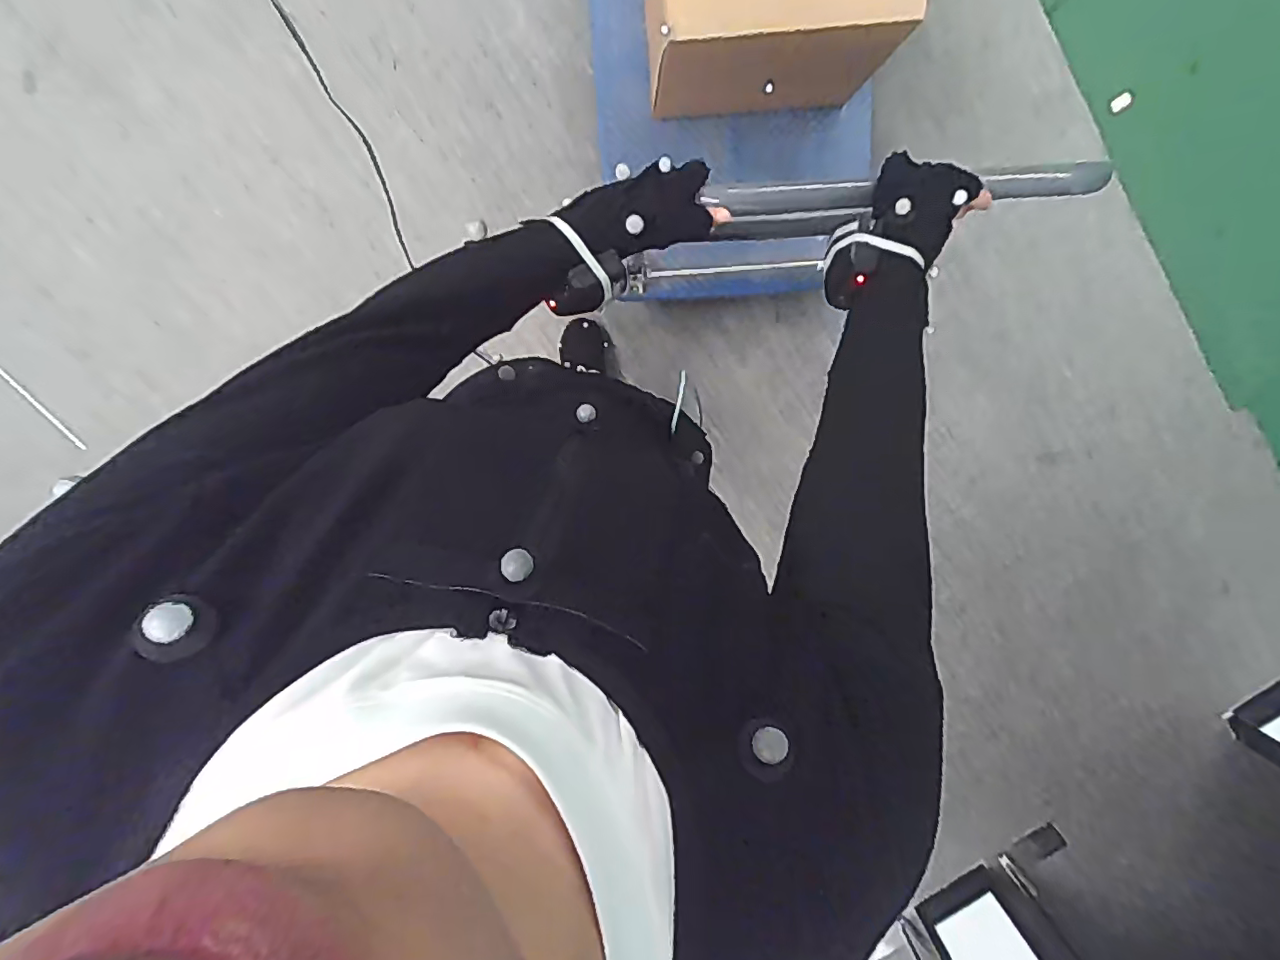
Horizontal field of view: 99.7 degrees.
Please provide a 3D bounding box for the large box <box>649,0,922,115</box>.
[{"bbox_3d":[0.225,-0.885,0.948,0.408,0.320,0.320,-6,104,0],"label":"large box"}]
